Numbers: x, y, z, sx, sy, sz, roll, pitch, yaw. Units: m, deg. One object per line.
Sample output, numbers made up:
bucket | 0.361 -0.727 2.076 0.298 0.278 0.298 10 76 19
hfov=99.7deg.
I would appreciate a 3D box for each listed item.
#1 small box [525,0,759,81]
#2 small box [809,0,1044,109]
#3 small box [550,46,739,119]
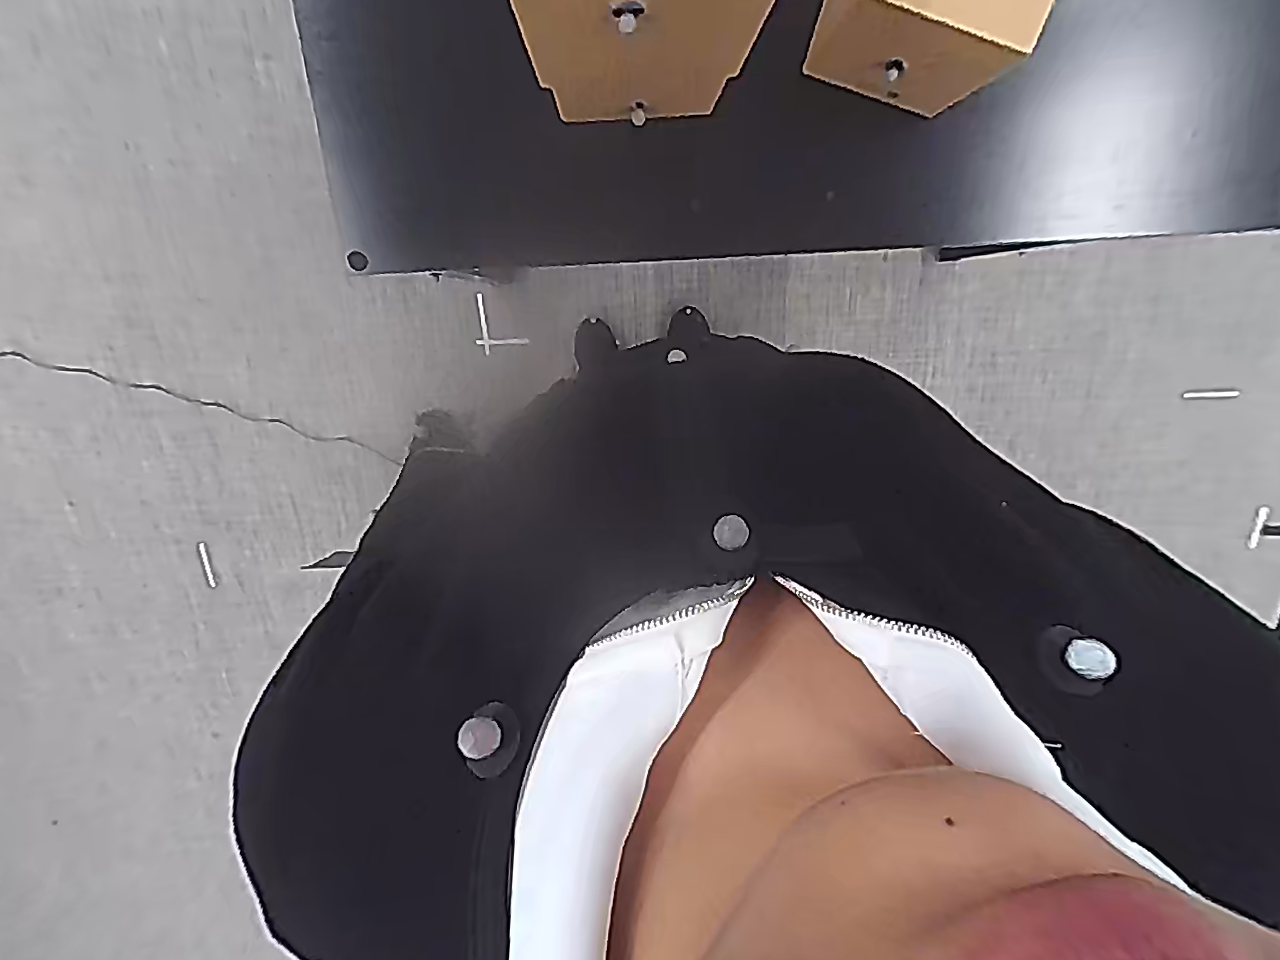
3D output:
small box | -0.001 -0.410 0.382 0.179 0.176 0.168 -4 108 -1
small box | 0.288 -0.508 0.534 0.168 0.176 0.179 14 106 -7
small box | -0.006 -0.479 0.534 0.179 0.176 0.168 -4 108 -2
